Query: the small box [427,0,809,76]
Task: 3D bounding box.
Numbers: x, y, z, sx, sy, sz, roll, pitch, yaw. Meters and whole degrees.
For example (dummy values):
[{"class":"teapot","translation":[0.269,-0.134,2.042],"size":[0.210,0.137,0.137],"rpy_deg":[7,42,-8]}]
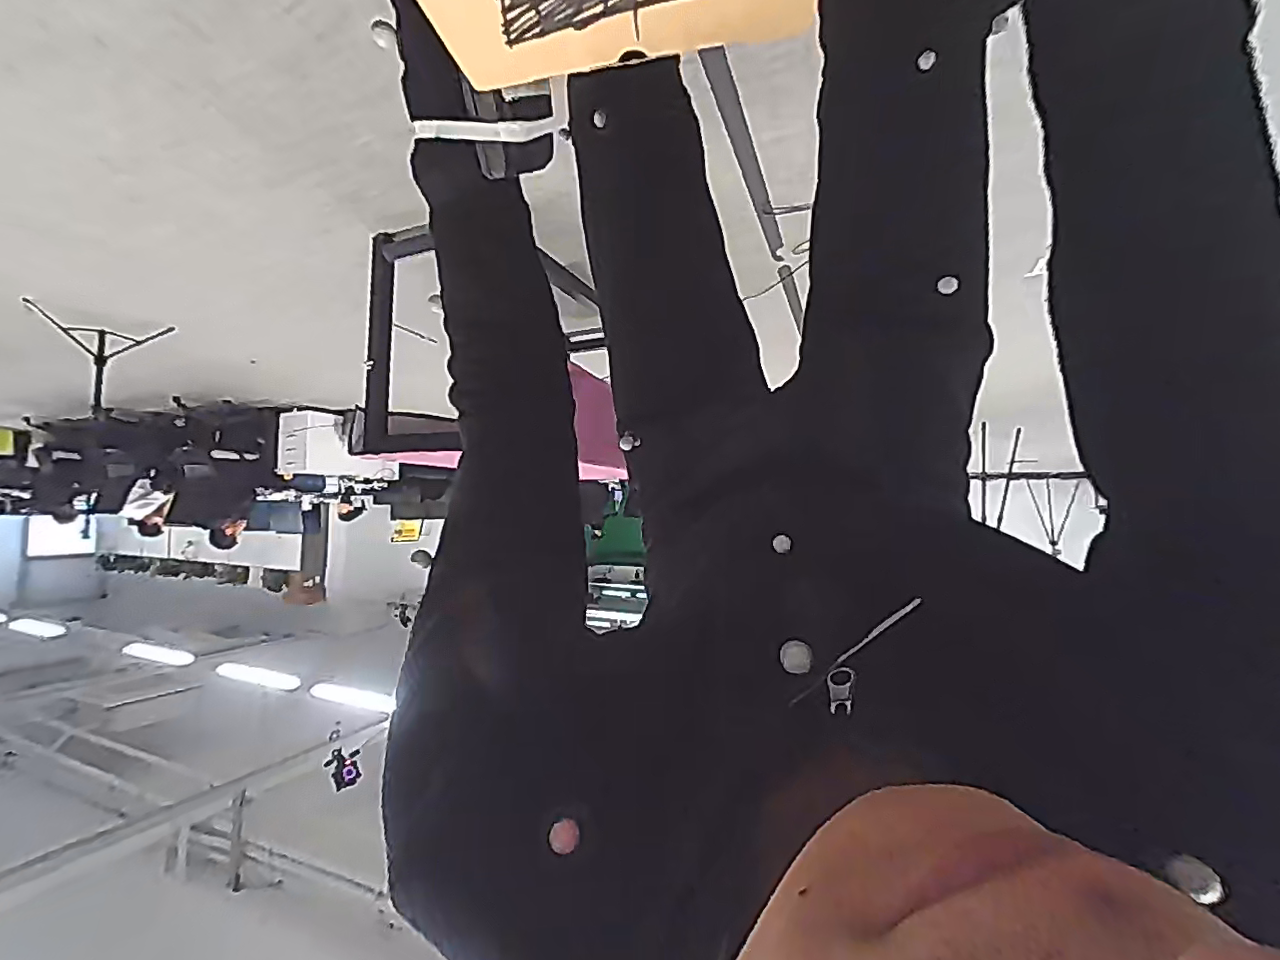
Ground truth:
[{"class":"small box","translation":[-0.020,-0.292,0.180],"size":[0.168,0.176,0.179],"rpy_deg":[-2,175,11]}]
